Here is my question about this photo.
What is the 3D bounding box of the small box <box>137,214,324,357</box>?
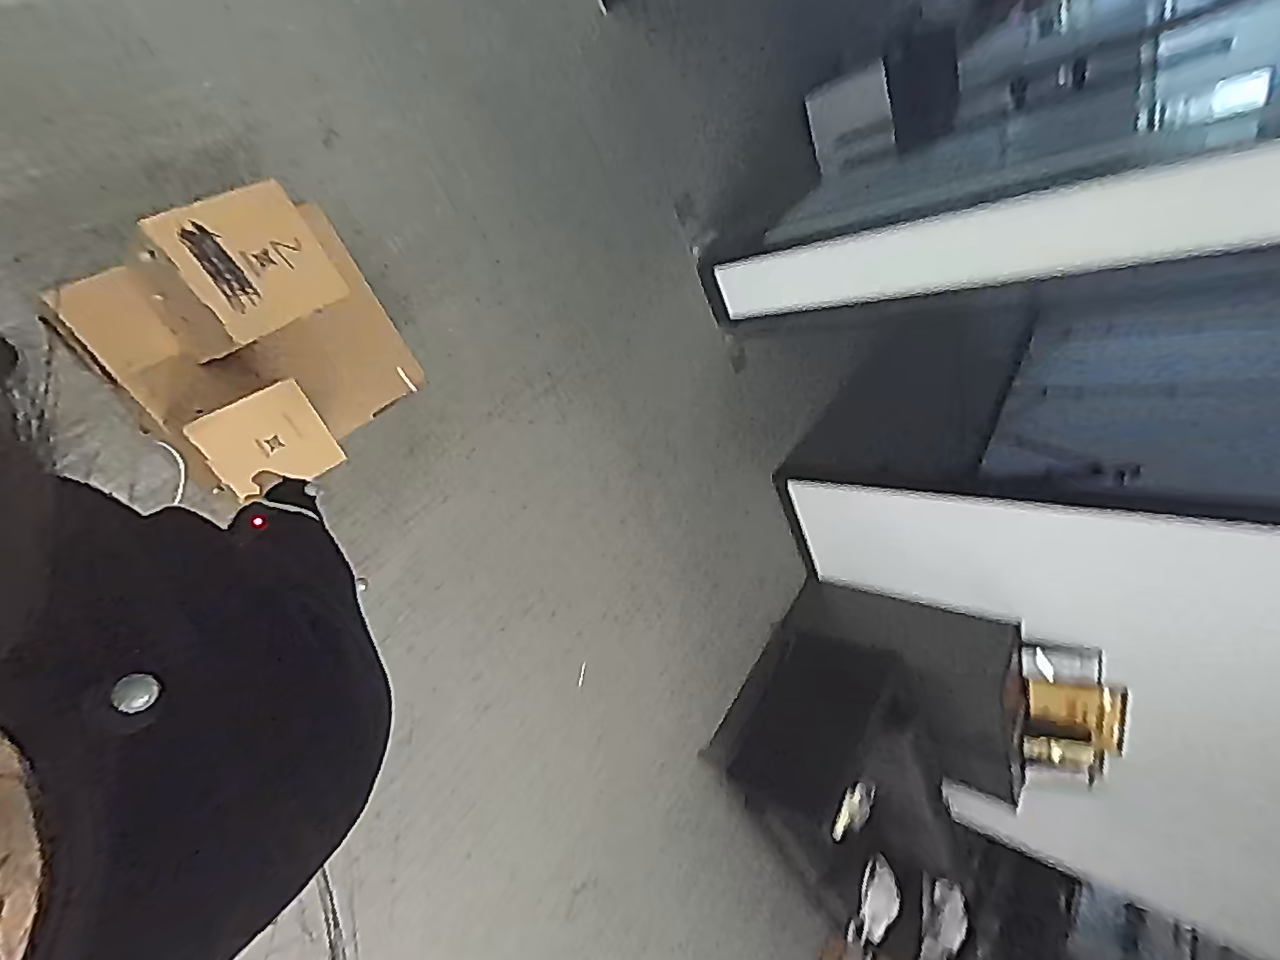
[{"bbox_3d":[-0.678,-0.318,0.897,0.179,0.176,0.168,-43,123,-36],"label":"small box"}]

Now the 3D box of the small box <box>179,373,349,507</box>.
[{"bbox_3d":[-0.661,-0.075,0.947,0.179,0.176,0.168,-42,125,-36],"label":"small box"}]
